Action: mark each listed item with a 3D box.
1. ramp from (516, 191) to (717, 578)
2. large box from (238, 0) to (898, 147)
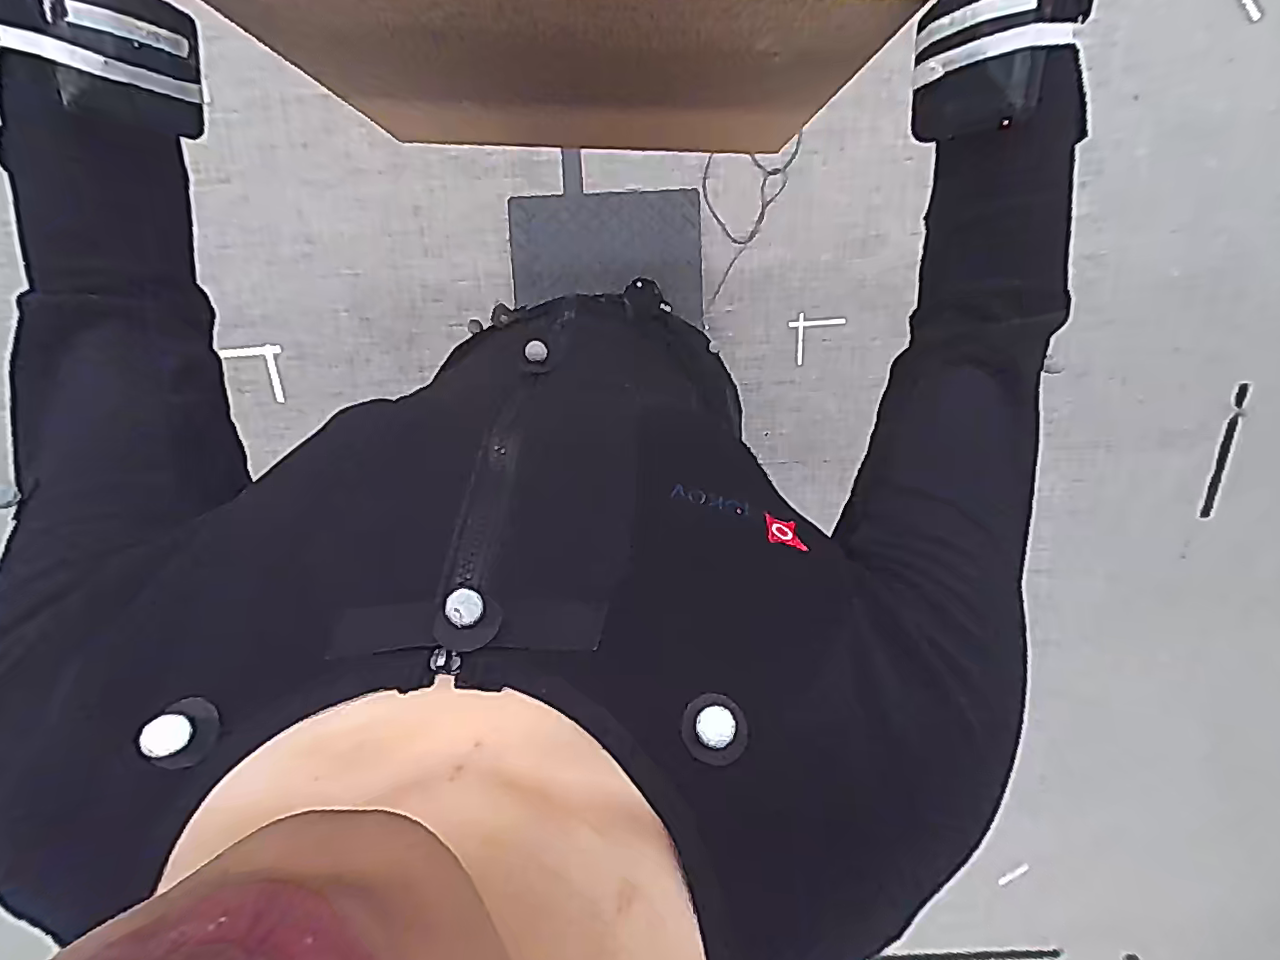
[{"bbox_3d":[-0.058,-0.235,1.440,0.509,0.206,0.991,-4,106,3],"label":"ramp"},{"bbox_3d":[-0.045,-0.459,0.390,0.408,0.320,0.320,0,108,-2],"label":"large box"}]
